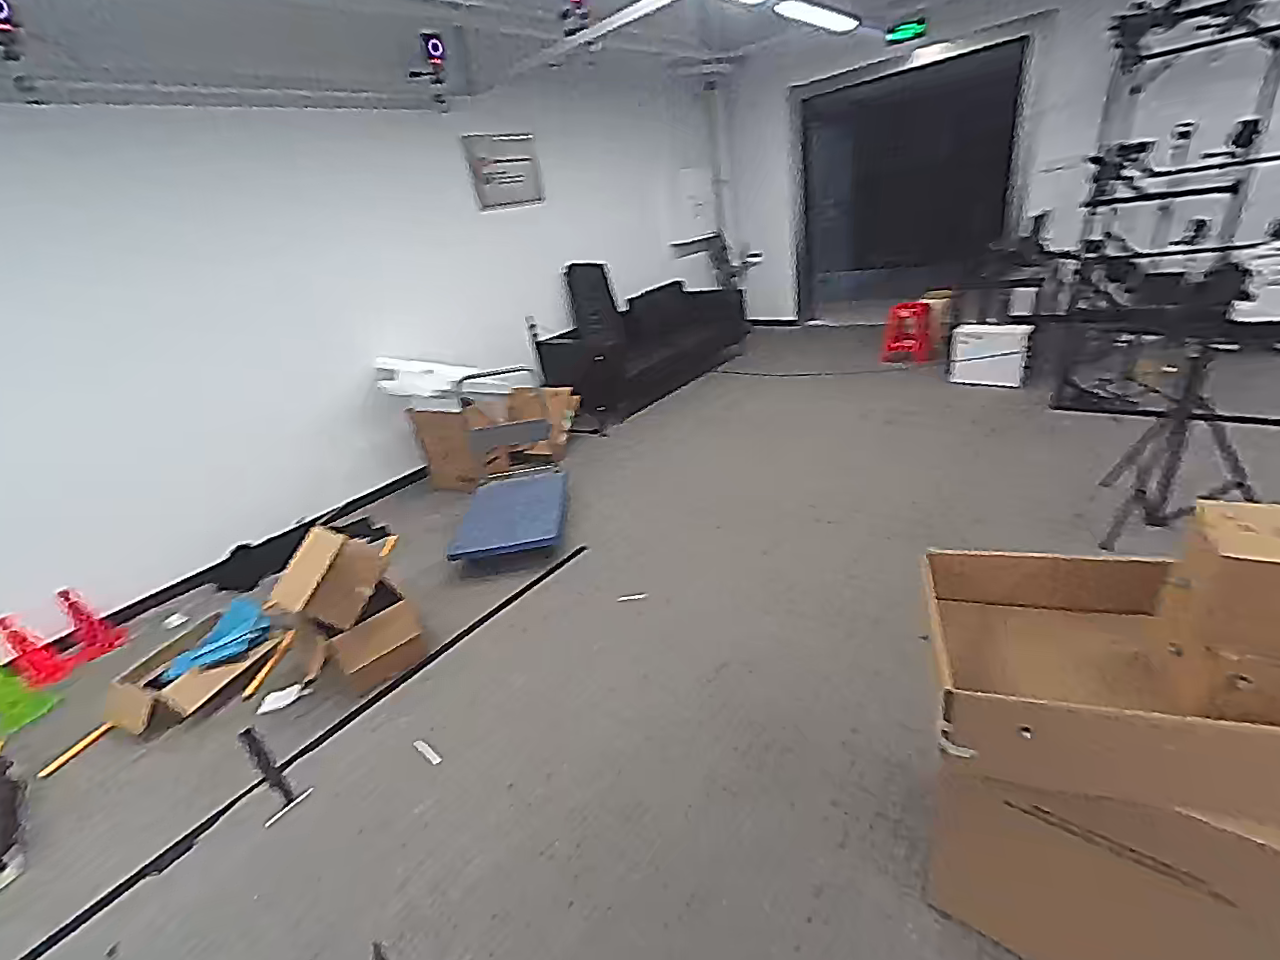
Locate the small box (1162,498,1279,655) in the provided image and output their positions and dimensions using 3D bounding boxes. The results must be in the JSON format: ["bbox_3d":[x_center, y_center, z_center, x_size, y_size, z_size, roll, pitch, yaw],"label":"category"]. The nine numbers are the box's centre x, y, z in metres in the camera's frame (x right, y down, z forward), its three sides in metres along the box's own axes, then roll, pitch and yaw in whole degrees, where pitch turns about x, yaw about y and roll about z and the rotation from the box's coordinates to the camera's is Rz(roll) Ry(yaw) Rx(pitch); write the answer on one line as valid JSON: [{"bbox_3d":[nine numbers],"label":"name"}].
[{"bbox_3d":[0.944,0.148,0.823,0.179,0.176,0.168,5,30,32],"label":"small box"}]
